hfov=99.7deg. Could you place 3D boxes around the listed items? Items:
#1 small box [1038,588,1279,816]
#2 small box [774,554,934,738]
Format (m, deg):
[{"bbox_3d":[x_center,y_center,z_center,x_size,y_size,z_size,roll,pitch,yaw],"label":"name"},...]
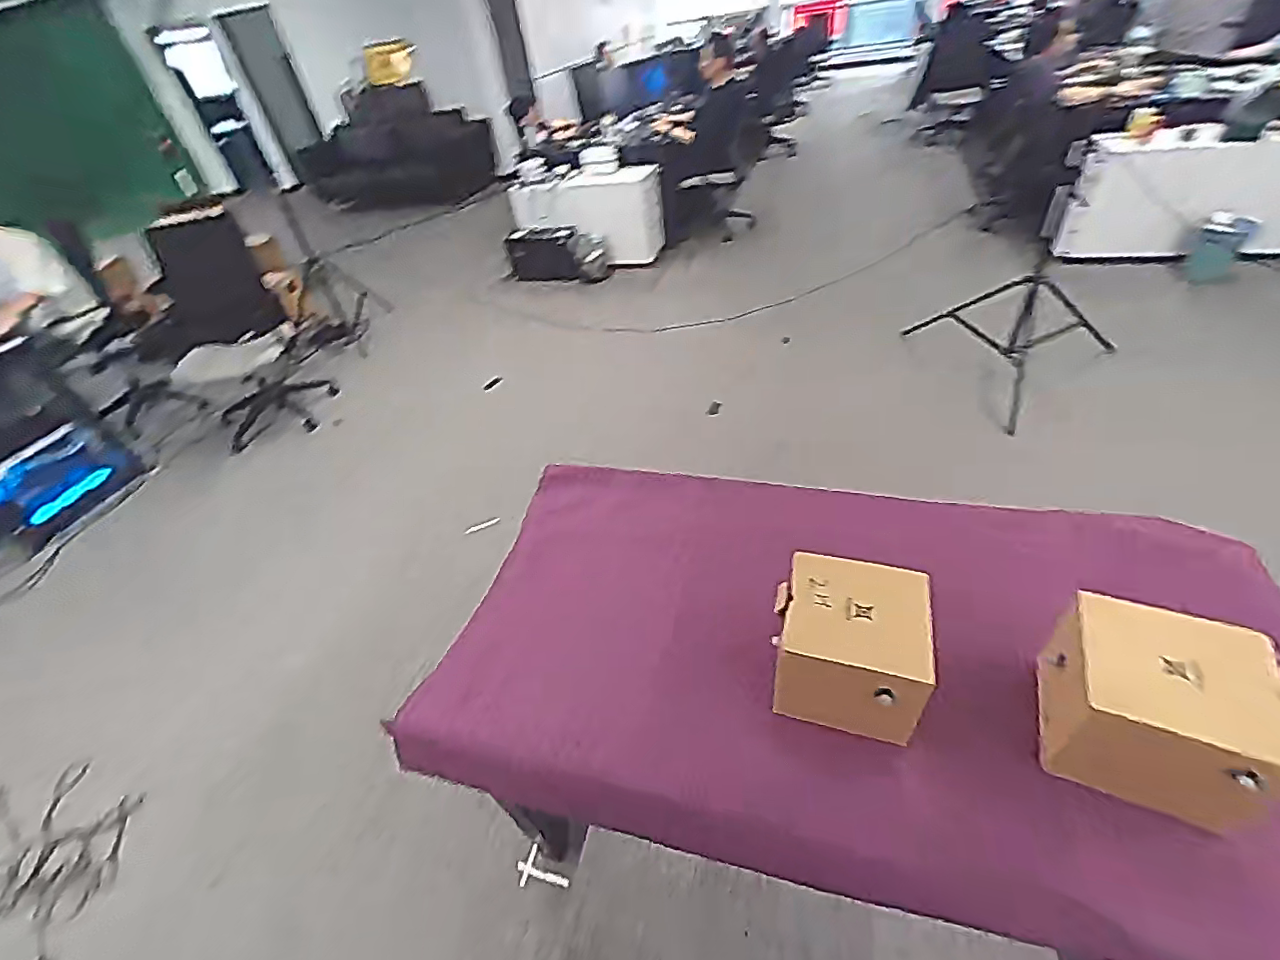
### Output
[{"bbox_3d":[0.600,0.263,0.645,0.179,0.176,0.168,12,45,24],"label":"small box"},{"bbox_3d":[0.288,0.229,0.749,0.179,0.176,0.168,7,43,19],"label":"small box"}]
